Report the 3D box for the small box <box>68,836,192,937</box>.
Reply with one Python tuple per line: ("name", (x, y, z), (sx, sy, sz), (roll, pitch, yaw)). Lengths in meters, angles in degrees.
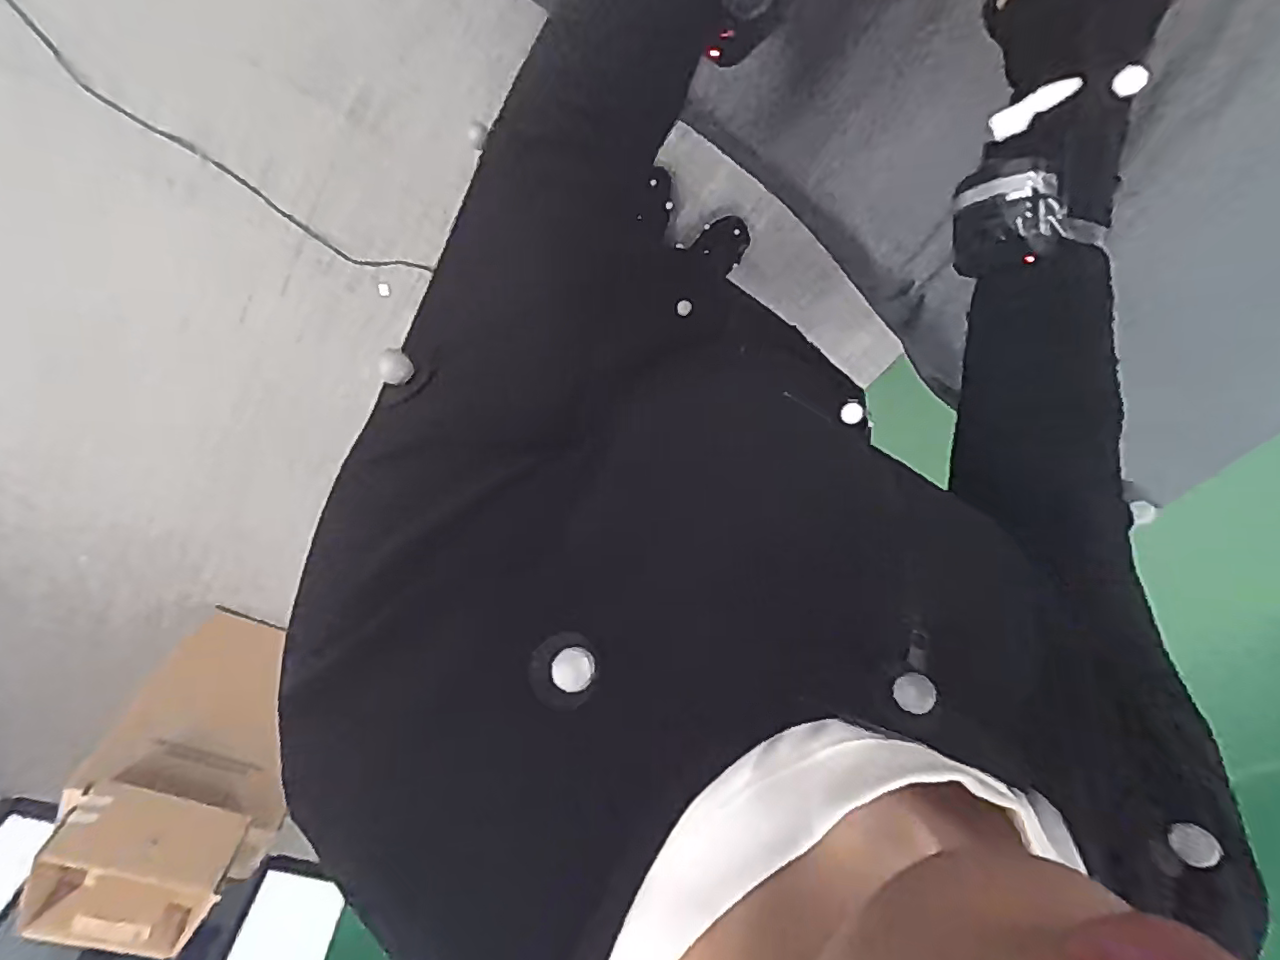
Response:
("small box", (-1.384, 1.102, 1.473), (0.179, 0.176, 0.168), (31, 121, -19))
